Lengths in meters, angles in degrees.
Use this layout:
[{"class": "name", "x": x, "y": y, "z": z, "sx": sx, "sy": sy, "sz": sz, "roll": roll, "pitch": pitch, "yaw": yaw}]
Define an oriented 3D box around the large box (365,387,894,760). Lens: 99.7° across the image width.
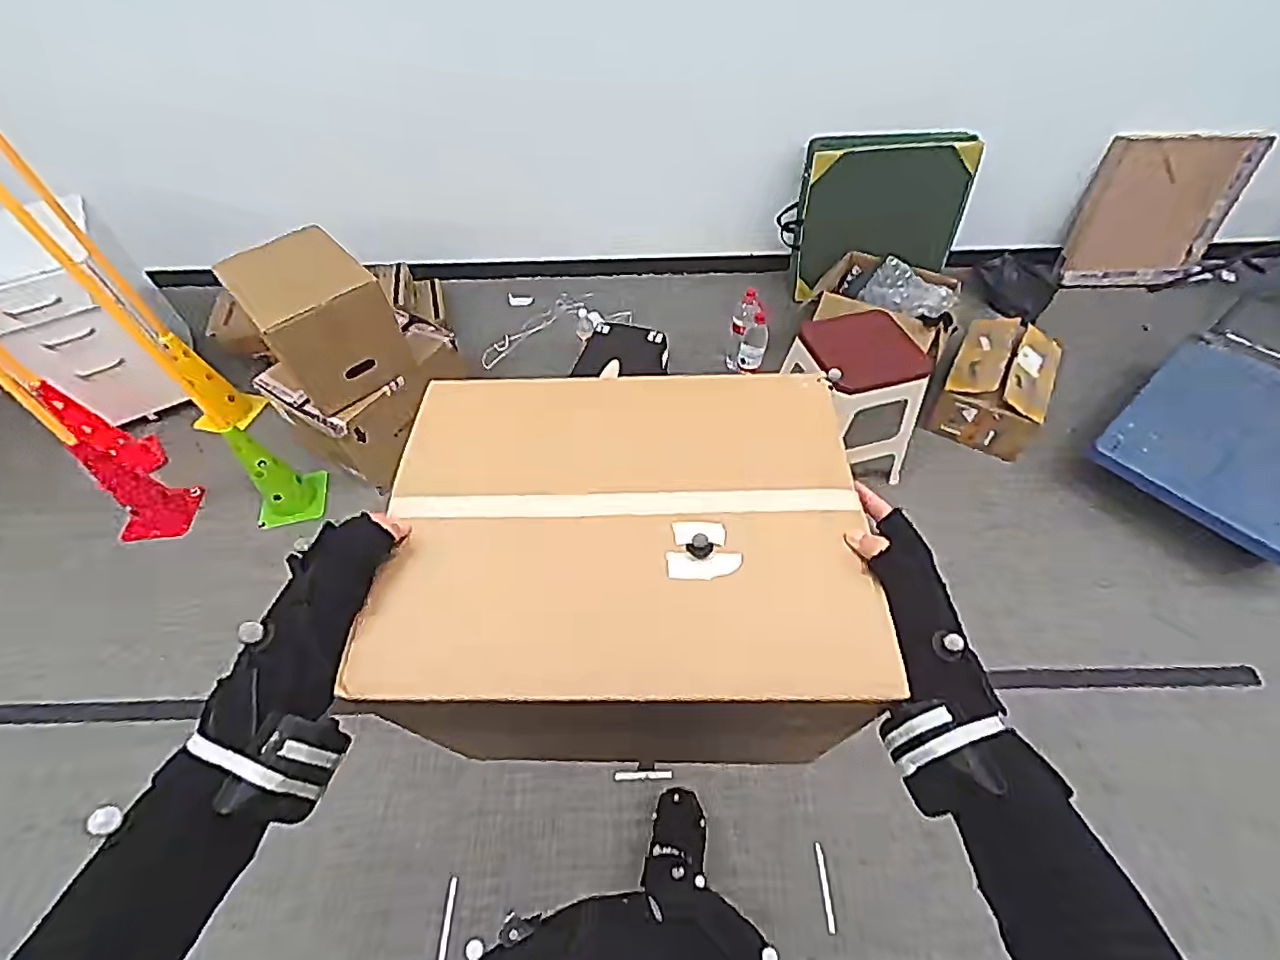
[{"class": "large box", "x": -0.006, "y": 0.117, "z": 0.605, "sx": 0.408, "sy": 0.320, "sz": 0.320, "roll": -1, "pitch": 55, "yaw": 2}]
